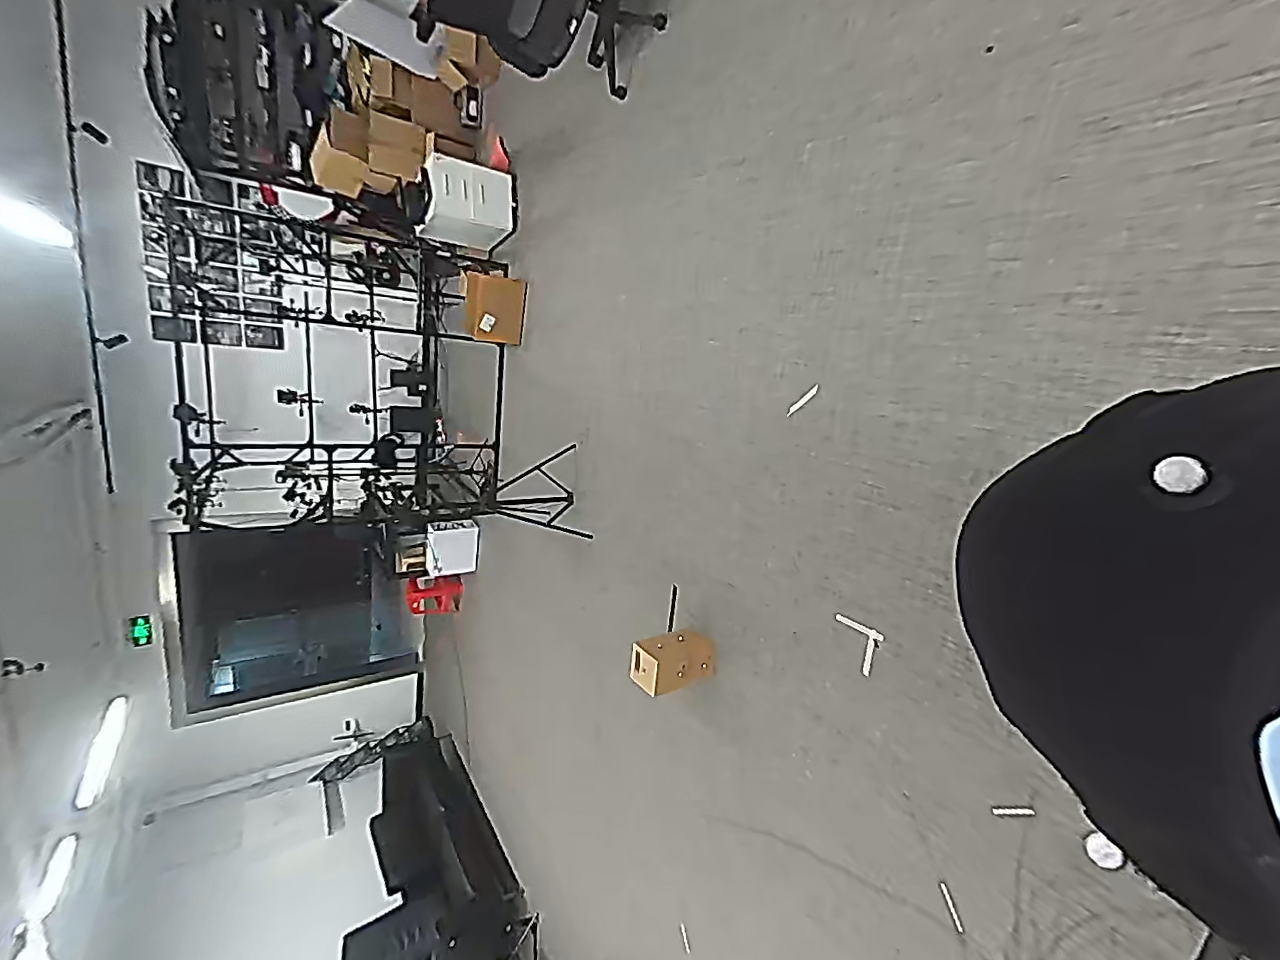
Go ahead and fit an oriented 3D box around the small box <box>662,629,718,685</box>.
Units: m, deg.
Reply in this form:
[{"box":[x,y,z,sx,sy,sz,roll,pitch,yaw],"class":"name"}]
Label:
[{"box":[0.217,0.771,2.377,0.179,0.176,0.168,15,105,54],"class":"small box"}]
